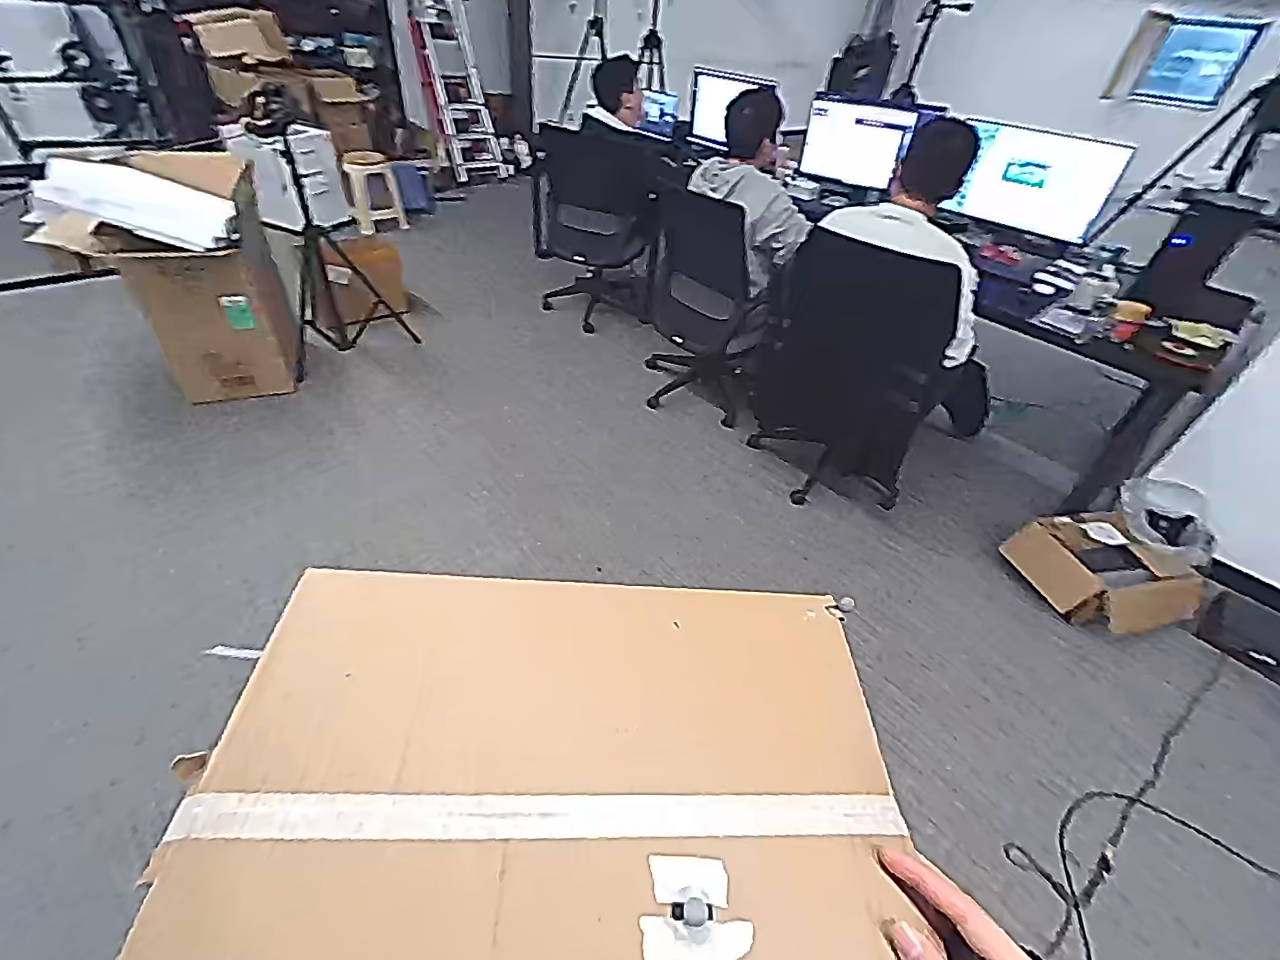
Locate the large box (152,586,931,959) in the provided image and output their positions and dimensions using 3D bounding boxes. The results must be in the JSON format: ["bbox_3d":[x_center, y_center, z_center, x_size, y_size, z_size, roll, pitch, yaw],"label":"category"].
[{"bbox_3d":[-0.061,0.302,0.426,0.408,0.320,0.320,4,47,-8],"label":"large box"}]
